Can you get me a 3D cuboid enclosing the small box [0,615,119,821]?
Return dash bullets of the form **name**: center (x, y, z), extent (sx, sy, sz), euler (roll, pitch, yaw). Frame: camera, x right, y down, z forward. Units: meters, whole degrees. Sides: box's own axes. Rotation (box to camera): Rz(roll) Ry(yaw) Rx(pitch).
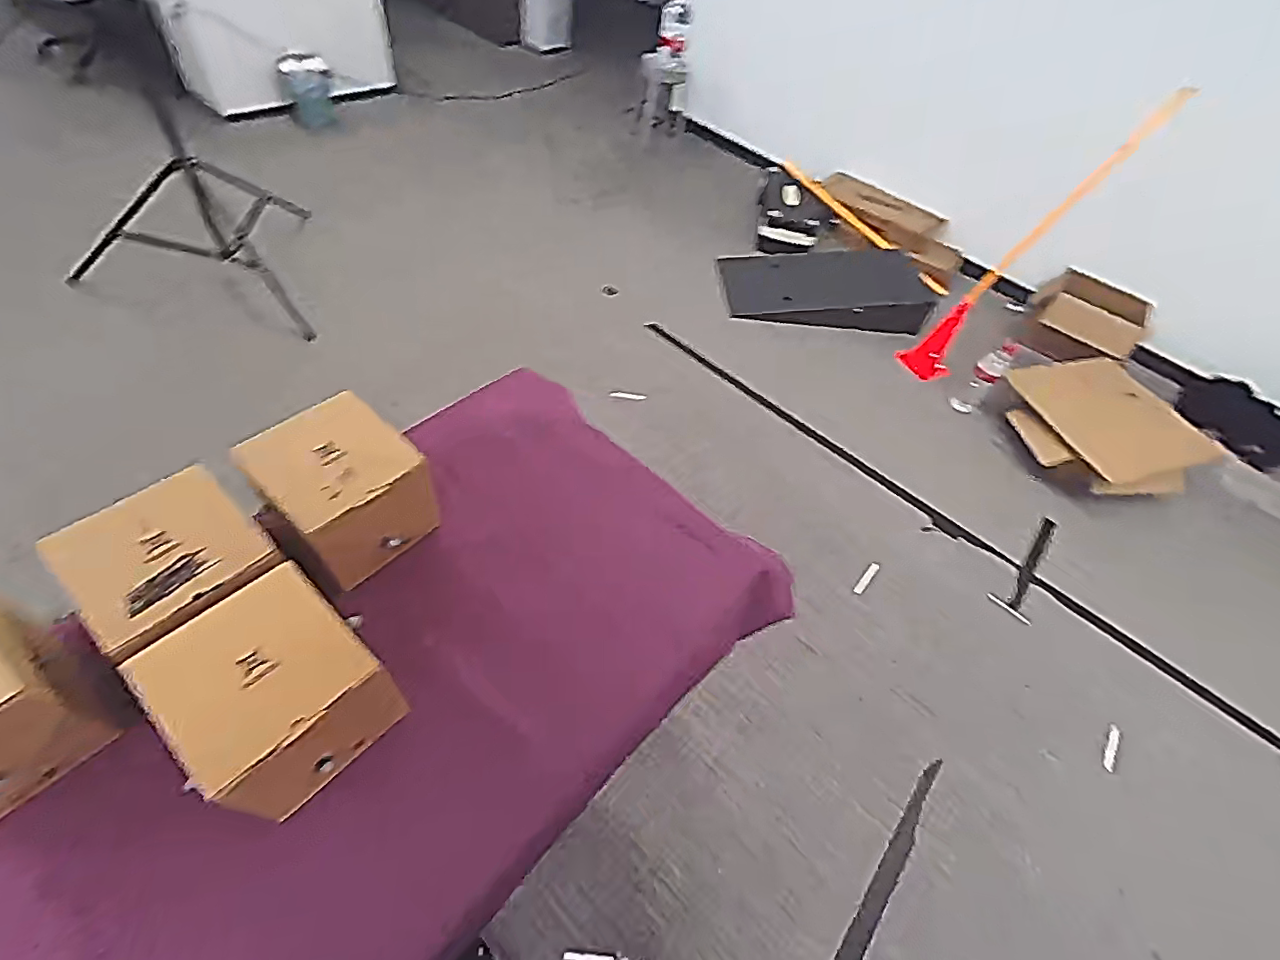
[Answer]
- **small box**: center (-0.692, 0.245, 0.540), extent (0.179, 0.176, 0.168), euler (39, 56, 15)
